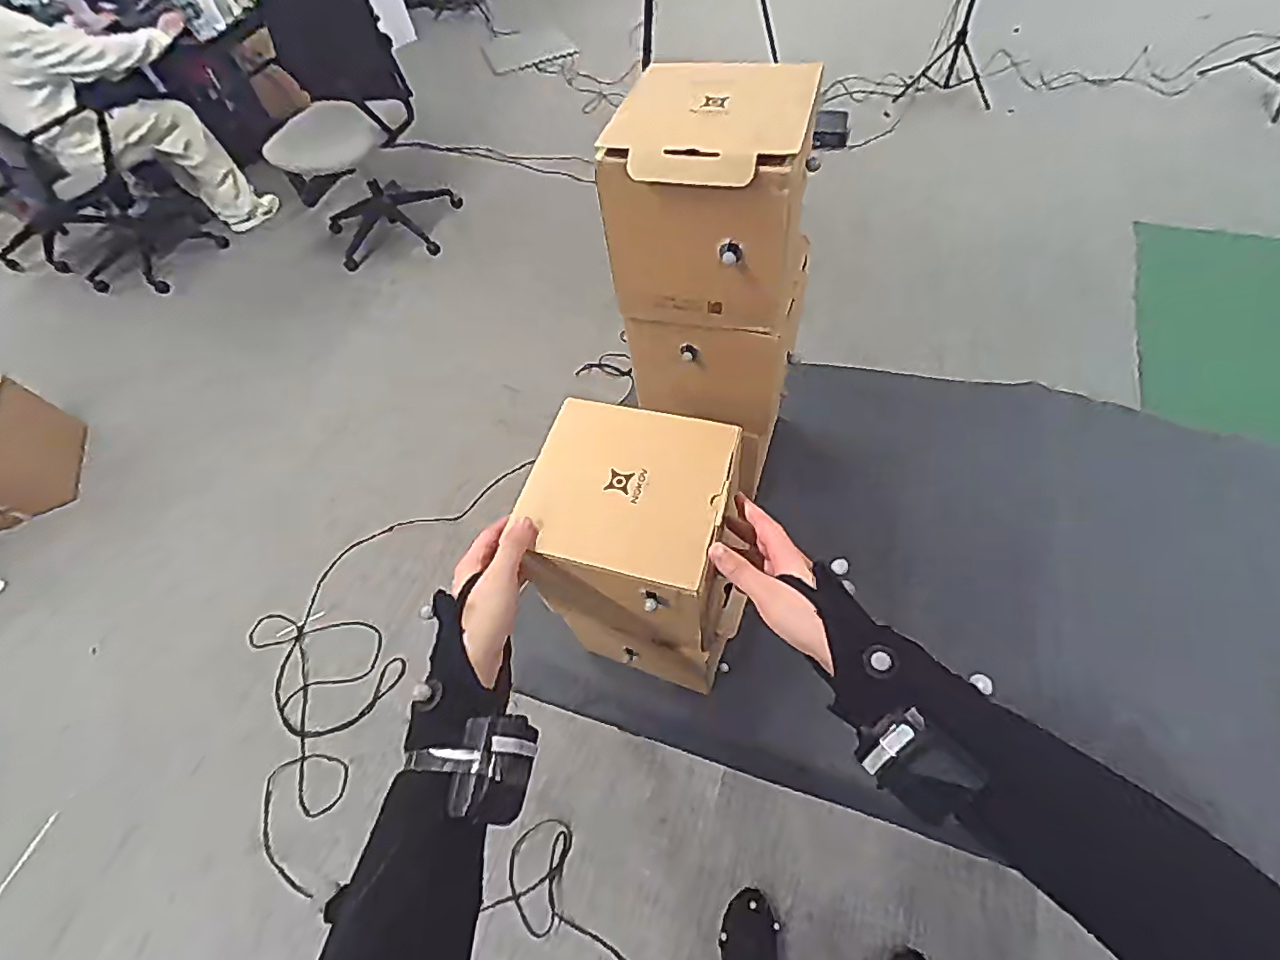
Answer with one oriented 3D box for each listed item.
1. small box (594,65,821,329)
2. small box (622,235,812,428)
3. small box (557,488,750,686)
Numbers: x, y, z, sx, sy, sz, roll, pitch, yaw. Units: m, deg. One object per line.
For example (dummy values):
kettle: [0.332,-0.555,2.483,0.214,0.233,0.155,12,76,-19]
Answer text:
small box: [0.071,-0.272,0.531,0.168,0.176,0.179,11,59,13]
small box: [0.097,-0.185,0.666,0.179,0.176,0.168,14,62,16]
small box: [0.027,0.138,0.668,0.179,0.176,0.168,15,61,17]
